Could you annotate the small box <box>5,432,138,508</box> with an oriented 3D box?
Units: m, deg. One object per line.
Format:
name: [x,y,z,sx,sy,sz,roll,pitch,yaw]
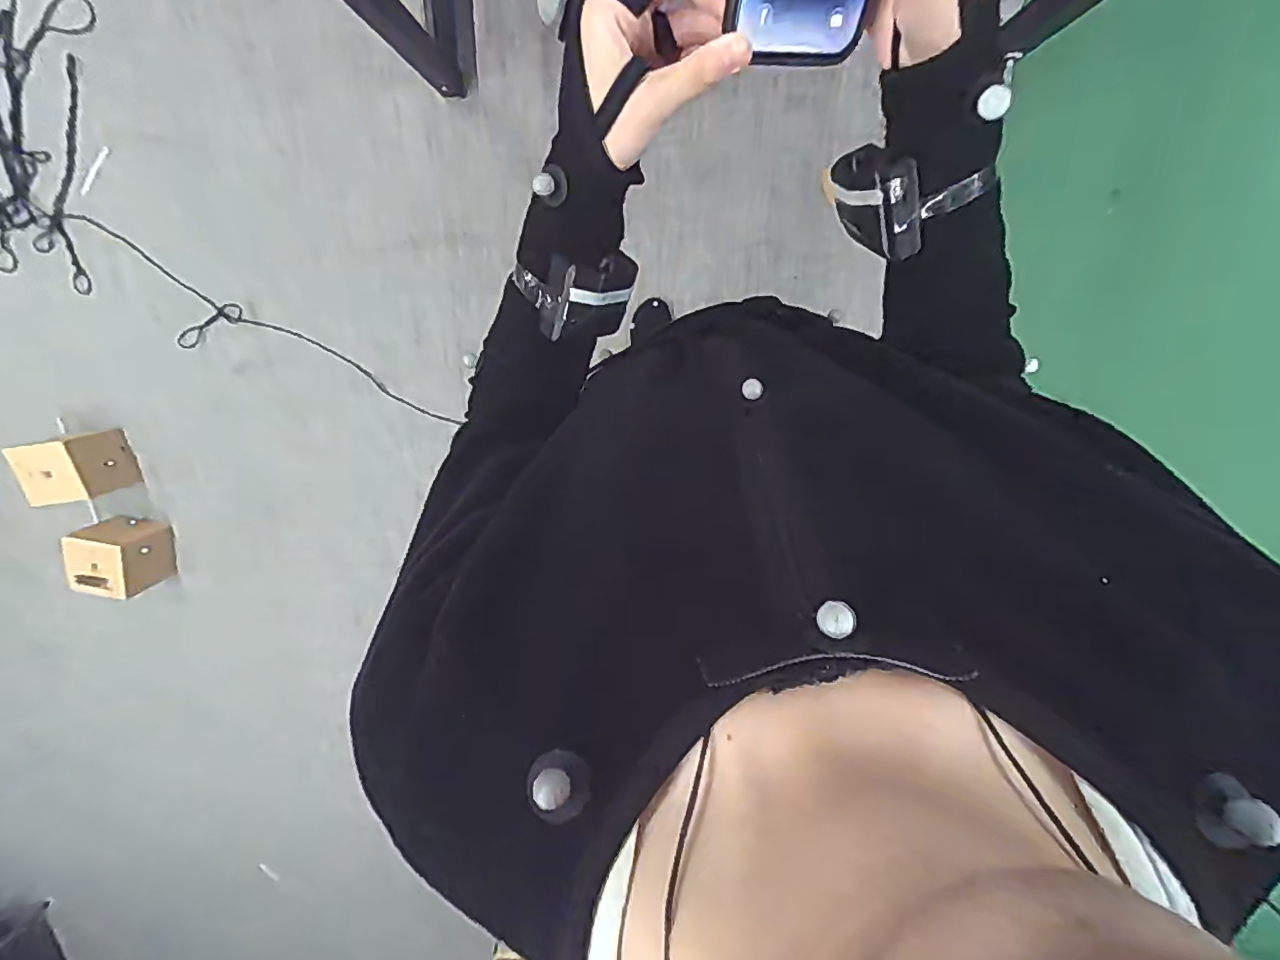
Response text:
small box: [-1.562,-0.033,1.504,0.179,0.176,0.168,-6,107,5]
